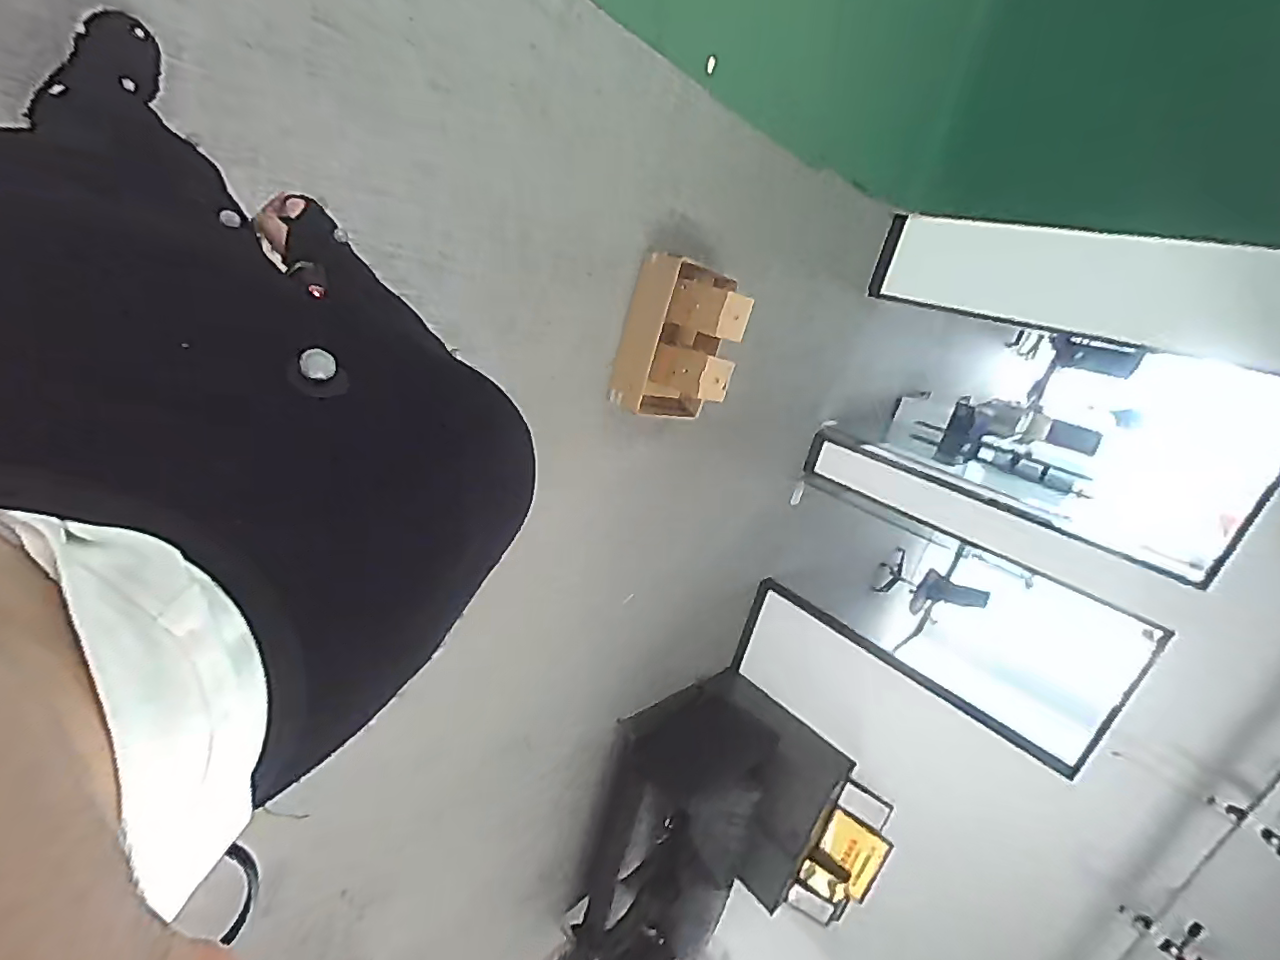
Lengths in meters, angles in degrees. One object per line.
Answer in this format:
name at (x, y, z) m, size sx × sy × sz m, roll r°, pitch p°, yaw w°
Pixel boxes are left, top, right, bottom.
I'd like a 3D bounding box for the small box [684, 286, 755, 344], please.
small box at (0.299, -0.627, 2.046) m, size 0.179 × 0.176 × 0.168 m, roll -4°, pitch 117°, yaw -46°
